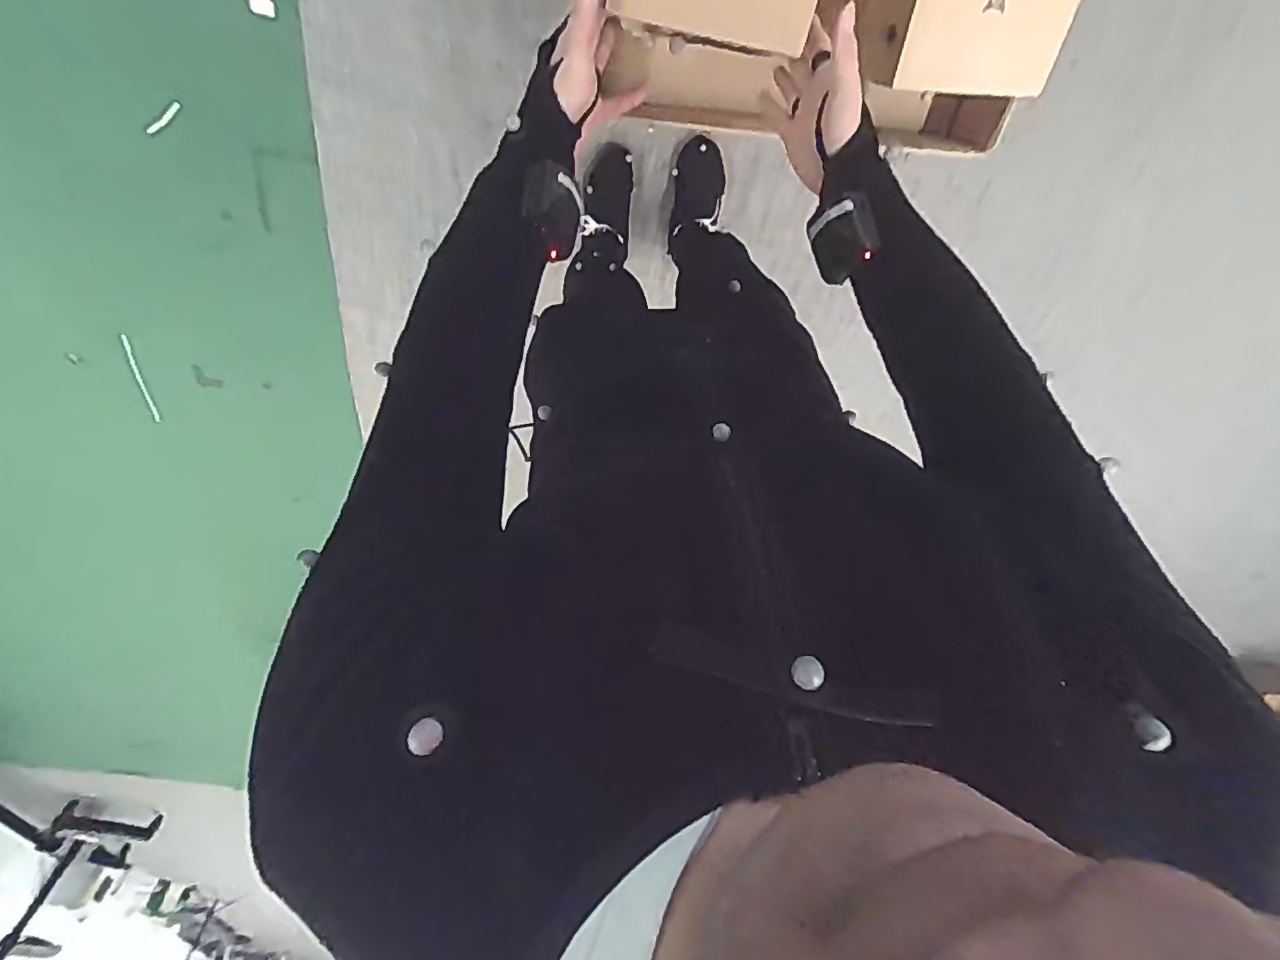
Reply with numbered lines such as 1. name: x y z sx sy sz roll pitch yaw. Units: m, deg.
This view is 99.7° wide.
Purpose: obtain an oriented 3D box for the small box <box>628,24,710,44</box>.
1. small box: 0.078 -0.675 0.691 0.168 0.176 0.179 5 129 -2

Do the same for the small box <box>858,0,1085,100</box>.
1. small box: 0.358 -0.533 0.587 0.168 0.176 0.179 3 130 -2

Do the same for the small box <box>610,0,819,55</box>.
1. small box: 0.070 -0.471 0.436 0.168 0.176 0.179 10 129 -6

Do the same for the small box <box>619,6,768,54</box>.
1. small box: 0.076 -0.572 0.565 0.168 0.176 0.179 8 128 -5
